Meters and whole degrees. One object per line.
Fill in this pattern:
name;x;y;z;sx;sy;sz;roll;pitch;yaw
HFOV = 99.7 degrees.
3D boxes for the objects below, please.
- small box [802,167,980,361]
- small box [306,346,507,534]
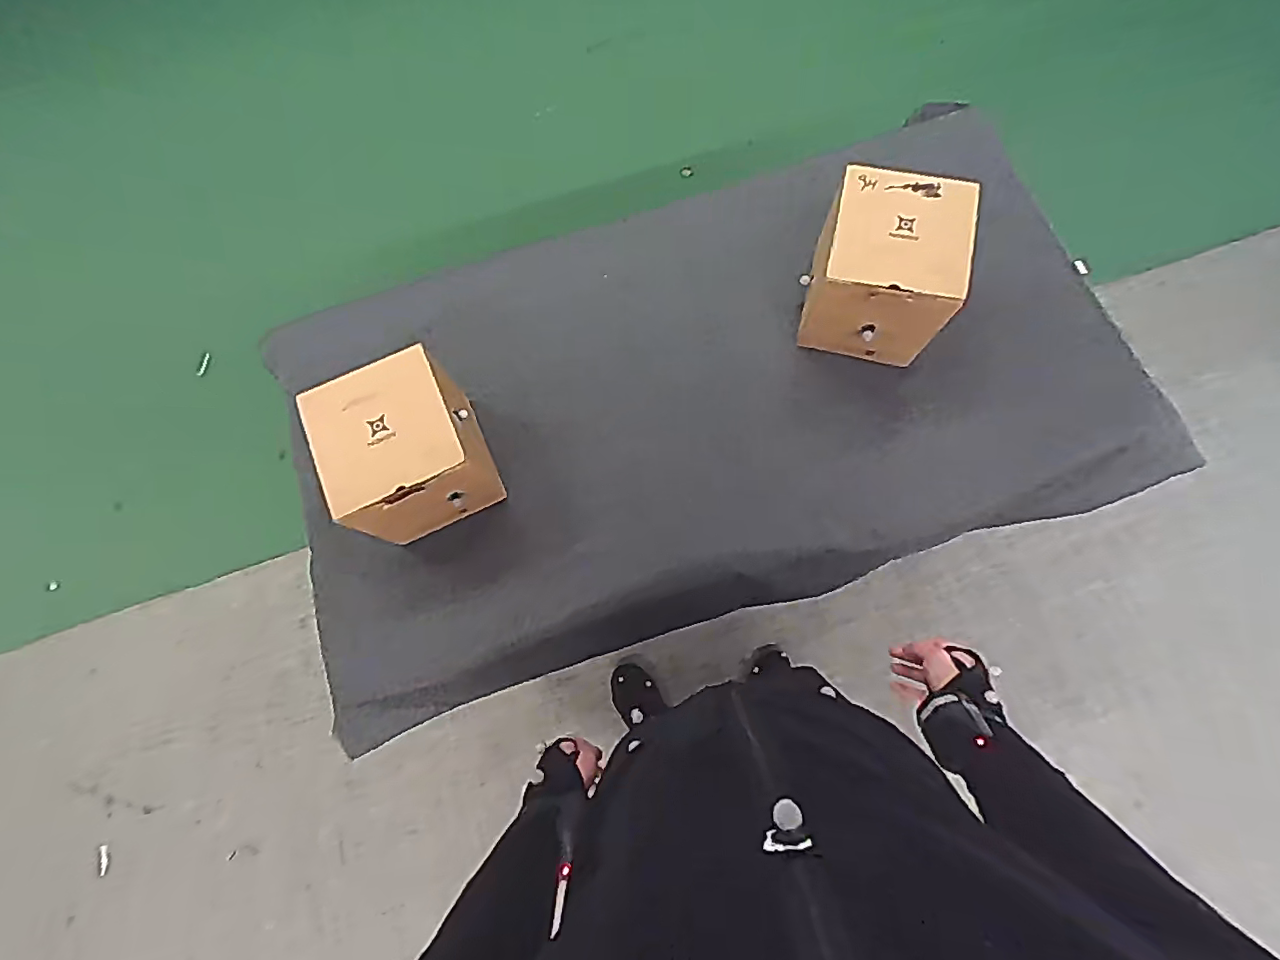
small box;0.334;-0.287;0.749;0.168;0.176;0.179;13;77;7
small box;-0.298;-0.039;0.723;0.168;0.176;0.179;-25;74;-5
